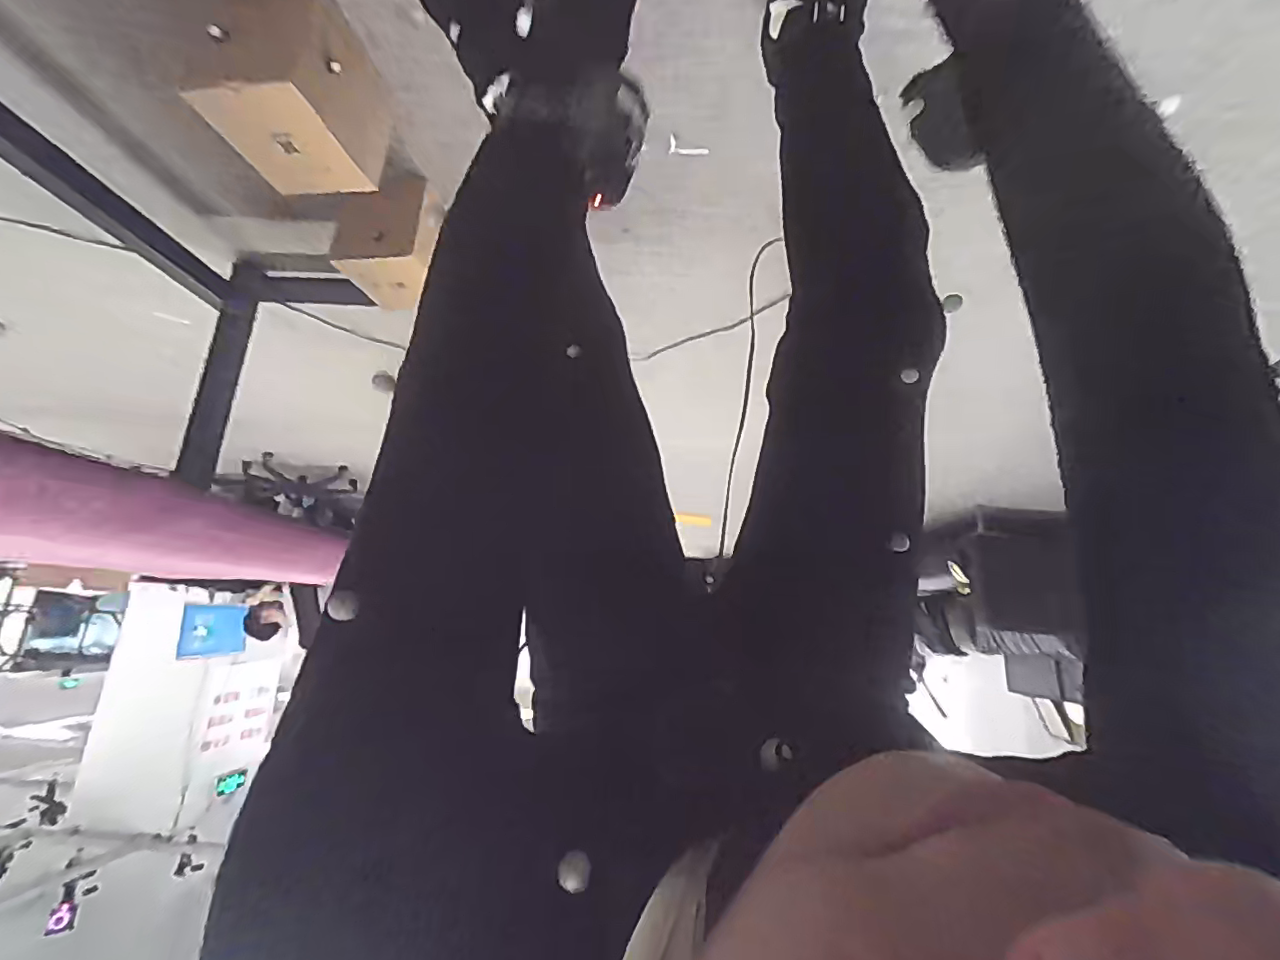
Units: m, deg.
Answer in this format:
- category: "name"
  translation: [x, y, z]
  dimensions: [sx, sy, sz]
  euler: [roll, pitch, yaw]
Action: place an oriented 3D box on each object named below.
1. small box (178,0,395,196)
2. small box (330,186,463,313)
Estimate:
- category: "small box"
  translation: [-0.472, -0.532, 0.751]
  dimensions: [0.168, 0.176, 0.179]
  euler: [3, 166, 8]
- category: "small box"
  translation: [-0.461, -0.447, 1.057]
  dimensions: [0.179, 0.176, 0.168]
  euler: [1, 165, 10]
